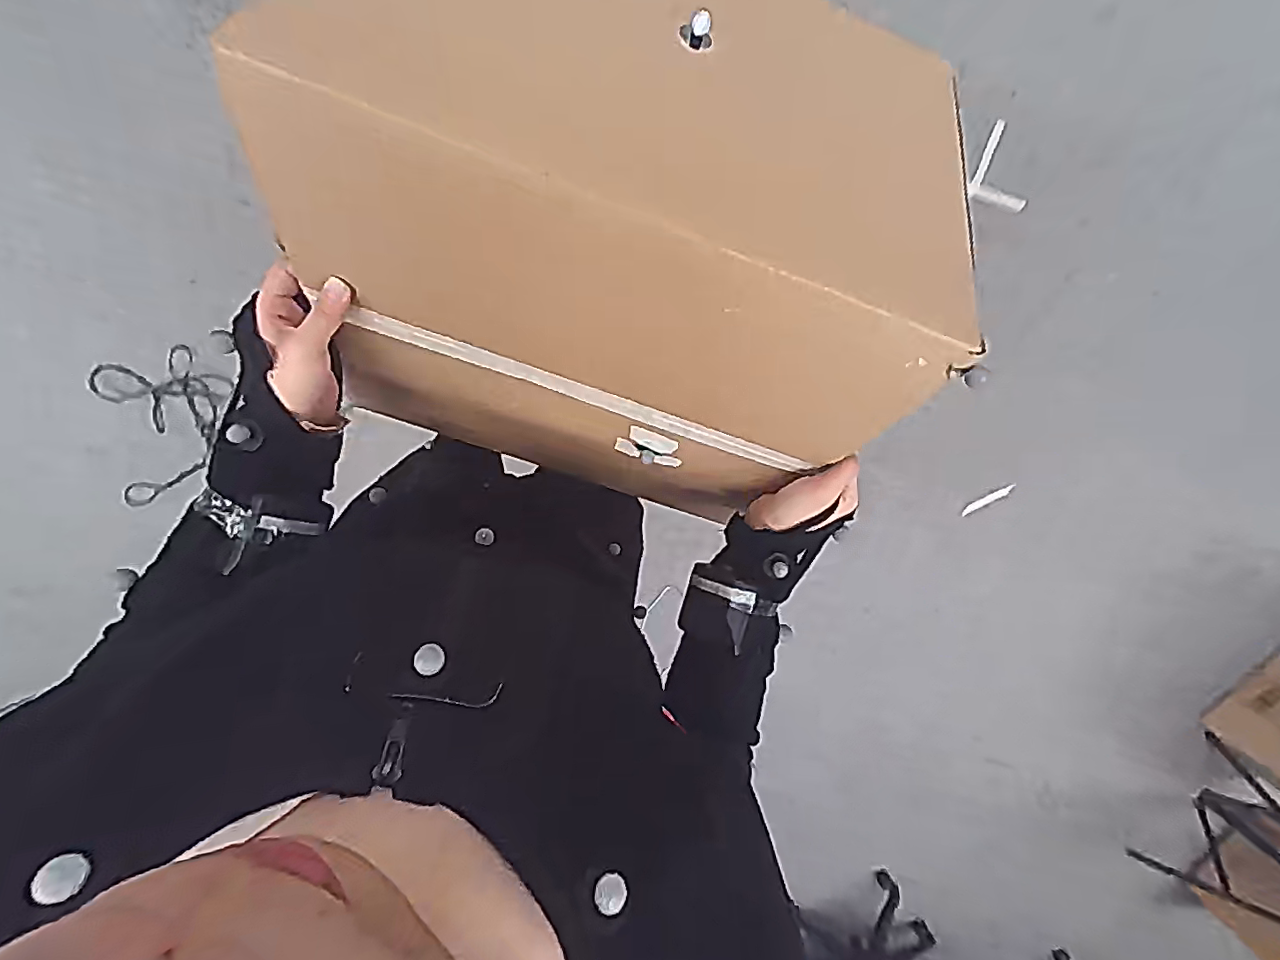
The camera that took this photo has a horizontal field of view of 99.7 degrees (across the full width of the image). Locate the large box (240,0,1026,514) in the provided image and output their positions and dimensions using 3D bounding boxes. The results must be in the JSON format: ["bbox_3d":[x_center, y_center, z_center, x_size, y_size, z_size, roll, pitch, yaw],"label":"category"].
[{"bbox_3d":[0.004,-0.213,0.455,0.408,0.320,0.320,17,63,-8],"label":"large box"}]
